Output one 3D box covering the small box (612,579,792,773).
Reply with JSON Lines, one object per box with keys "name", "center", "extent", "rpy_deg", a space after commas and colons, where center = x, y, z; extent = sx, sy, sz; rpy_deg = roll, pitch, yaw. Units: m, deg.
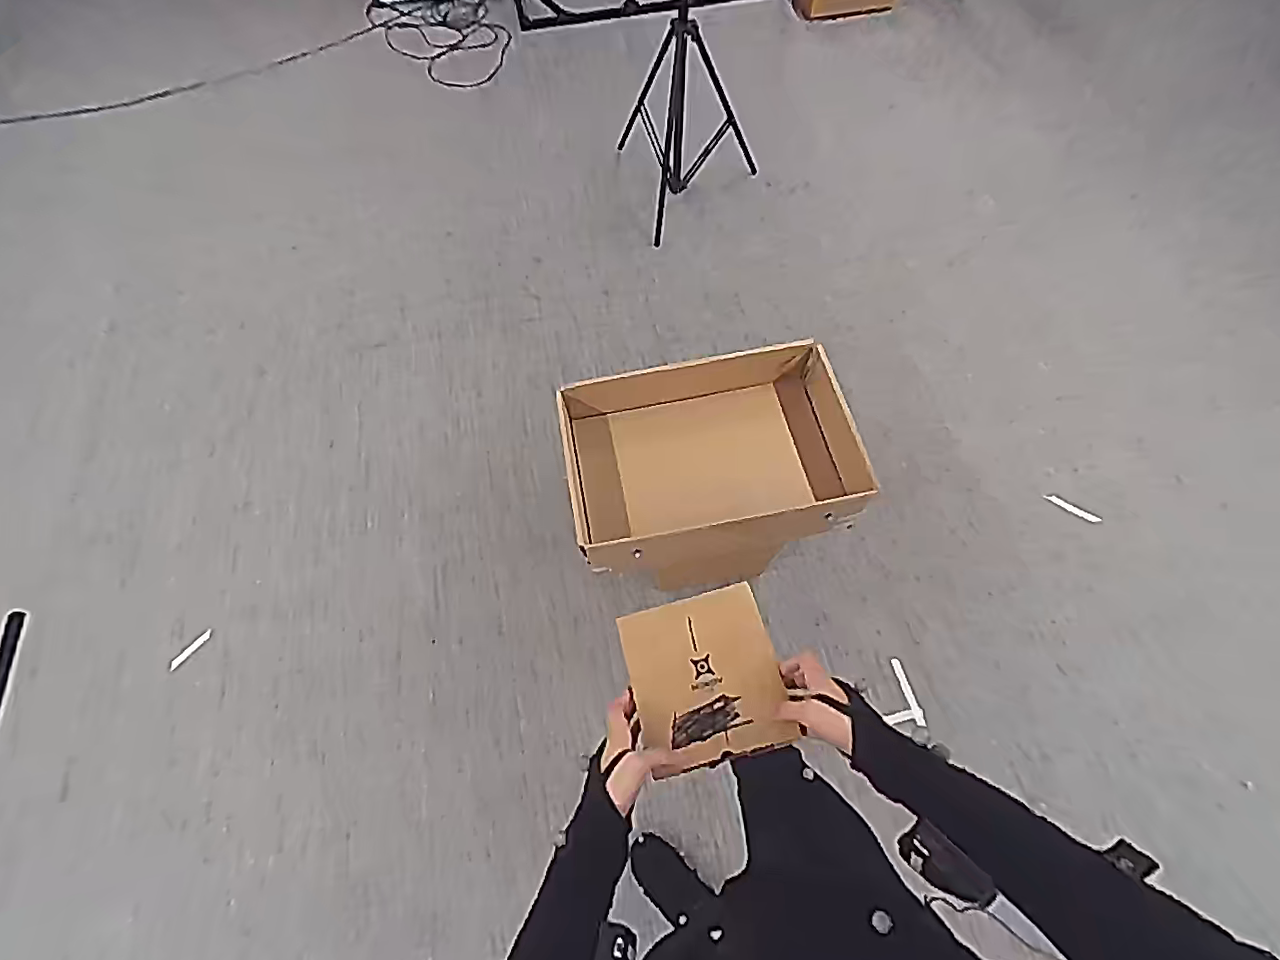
{"name": "small box", "center": [0.073, 0.242, 0.677], "extent": [0.168, 0.176, 0.179], "rpy_deg": [-15, 67, -1]}
